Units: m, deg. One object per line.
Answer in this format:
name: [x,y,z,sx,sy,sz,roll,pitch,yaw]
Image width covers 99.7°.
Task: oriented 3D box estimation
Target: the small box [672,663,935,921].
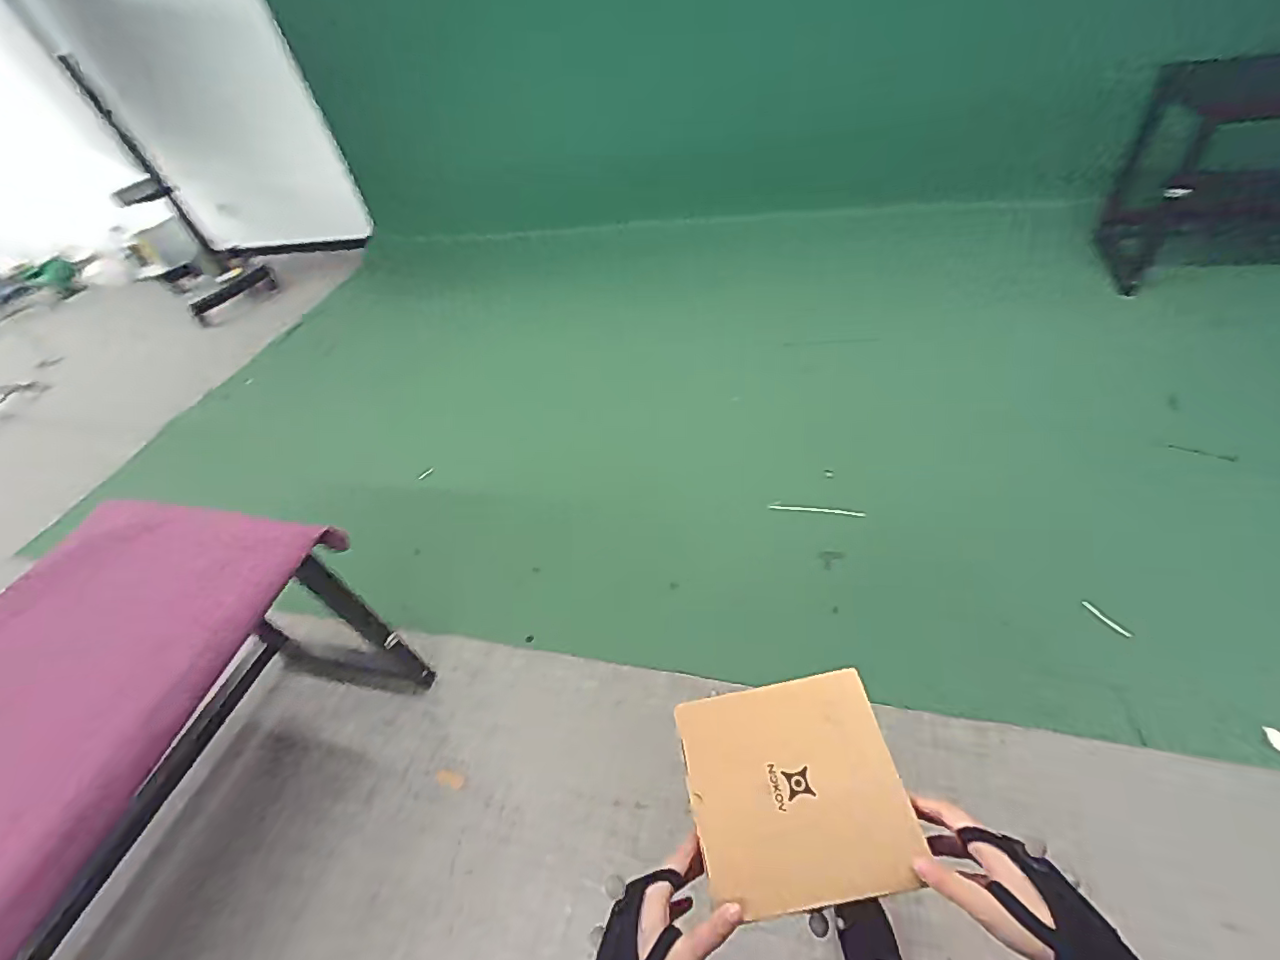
small box: [0.143,0.300,0.523,0.179,0.176,0.168,-16,51,3]
